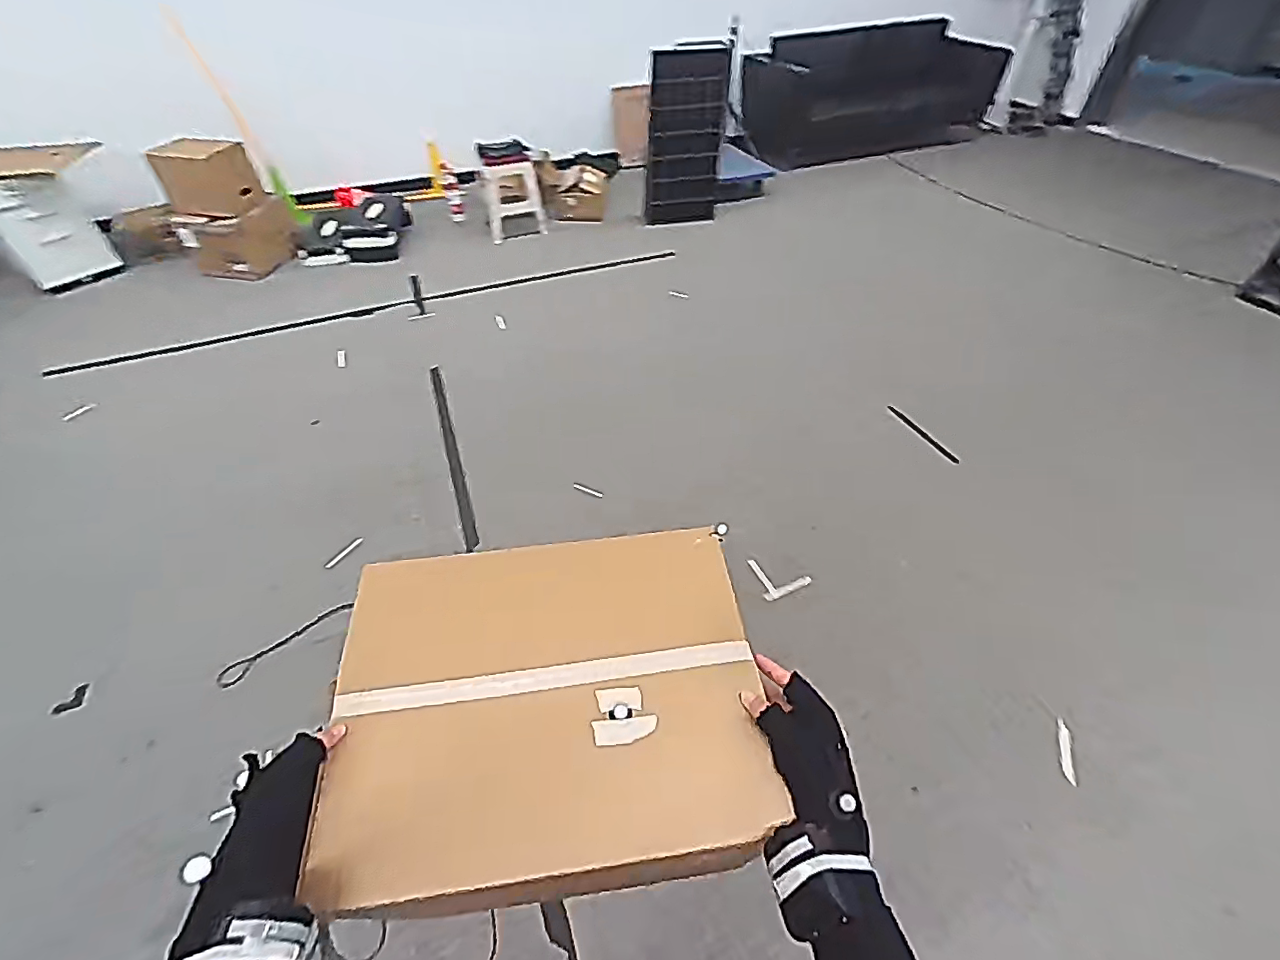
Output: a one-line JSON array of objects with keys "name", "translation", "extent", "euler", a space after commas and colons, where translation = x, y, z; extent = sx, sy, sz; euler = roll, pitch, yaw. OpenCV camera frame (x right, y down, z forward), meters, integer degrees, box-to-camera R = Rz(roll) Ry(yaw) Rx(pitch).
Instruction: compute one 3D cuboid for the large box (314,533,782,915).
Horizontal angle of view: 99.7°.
[{"name": "large box", "translation": [-0.094, 0.297, 0.661], "extent": [0.408, 0.320, 0.320], "euler": [-5, 51, -6]}]
